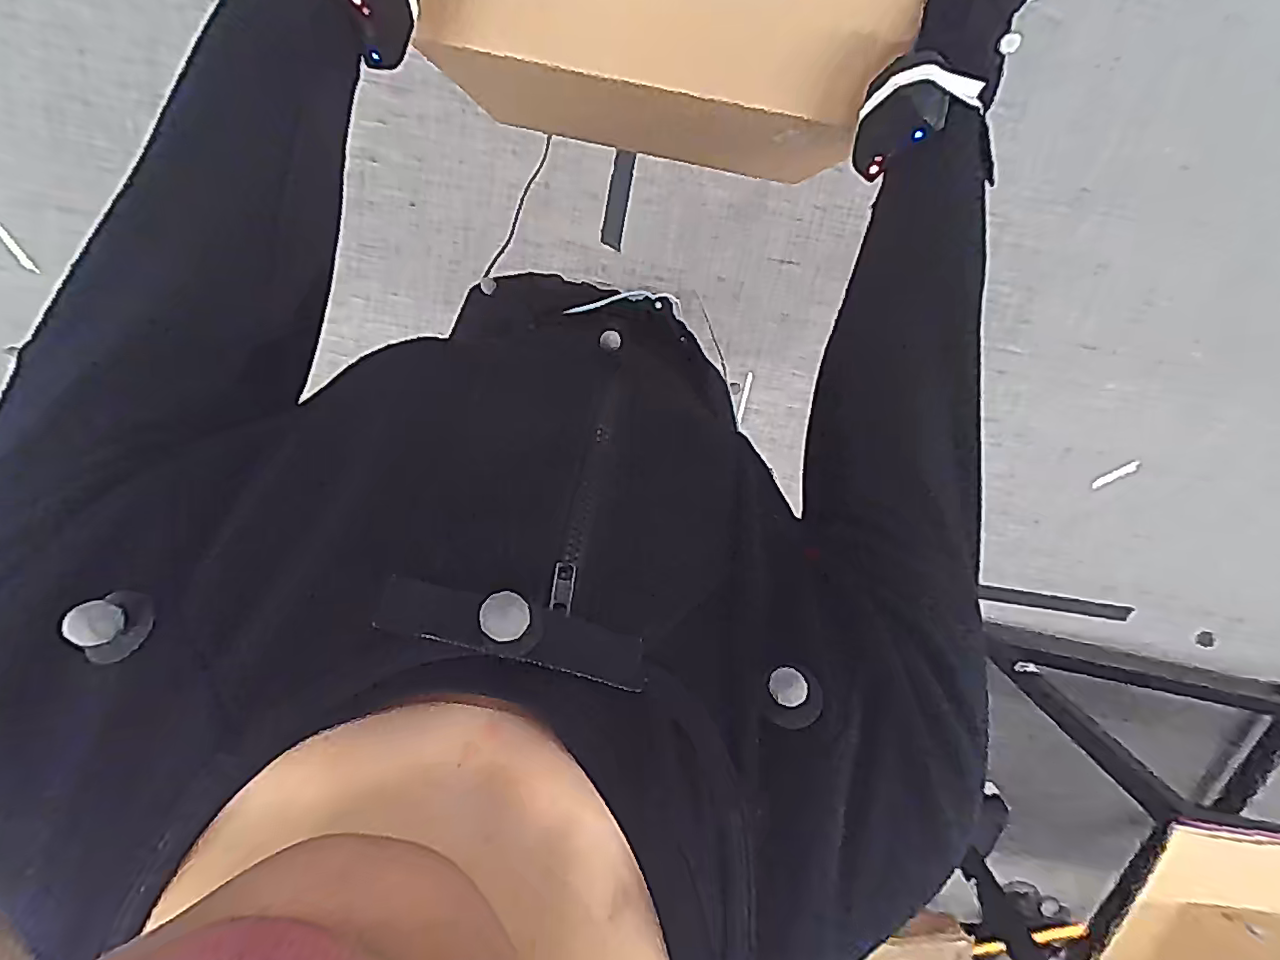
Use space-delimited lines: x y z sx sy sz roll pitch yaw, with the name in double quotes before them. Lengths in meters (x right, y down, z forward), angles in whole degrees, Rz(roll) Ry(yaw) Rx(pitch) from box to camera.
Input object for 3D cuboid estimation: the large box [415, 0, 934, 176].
"large box" 0.043 -0.517 0.515 0.408 0.320 0.320 10 113 -4
